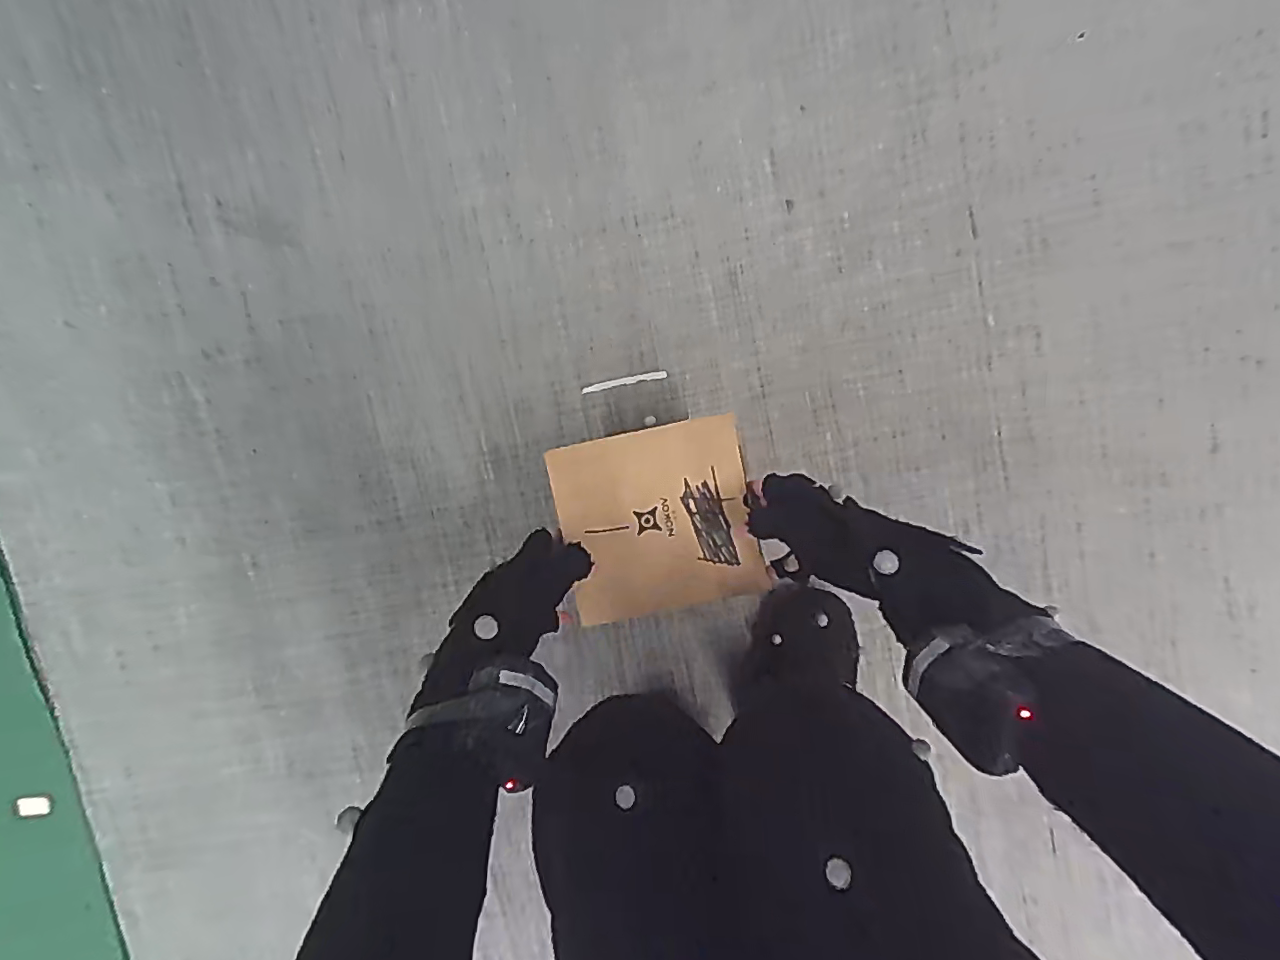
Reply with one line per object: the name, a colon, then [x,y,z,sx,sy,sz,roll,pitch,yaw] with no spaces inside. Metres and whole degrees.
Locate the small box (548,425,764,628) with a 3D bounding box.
small box: [0.017,0.039,0.571,0.179,0.176,0.168,-11,92,3]
